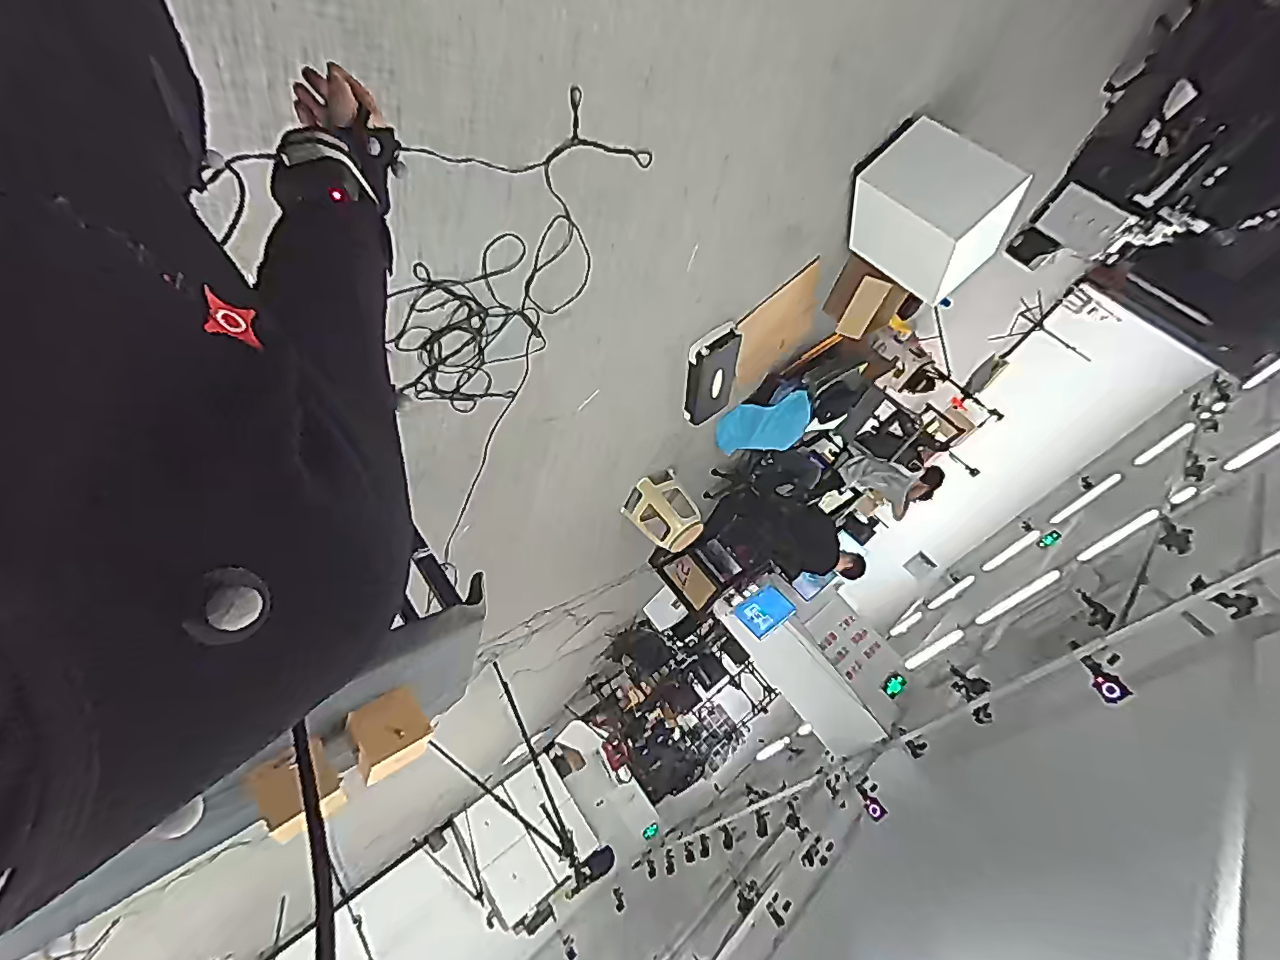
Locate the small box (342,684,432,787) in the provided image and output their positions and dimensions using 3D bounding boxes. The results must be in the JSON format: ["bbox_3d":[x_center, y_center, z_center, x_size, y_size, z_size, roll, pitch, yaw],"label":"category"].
[{"bbox_3d":[-0.730,0.725,1.548,0.179,0.176,0.168,-19,150,-46],"label":"small box"}]

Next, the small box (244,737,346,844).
[{"bbox_3d":[-0.902,0.811,1.420,0.168,0.176,0.179,-28,155,-36],"label":"small box"}]
